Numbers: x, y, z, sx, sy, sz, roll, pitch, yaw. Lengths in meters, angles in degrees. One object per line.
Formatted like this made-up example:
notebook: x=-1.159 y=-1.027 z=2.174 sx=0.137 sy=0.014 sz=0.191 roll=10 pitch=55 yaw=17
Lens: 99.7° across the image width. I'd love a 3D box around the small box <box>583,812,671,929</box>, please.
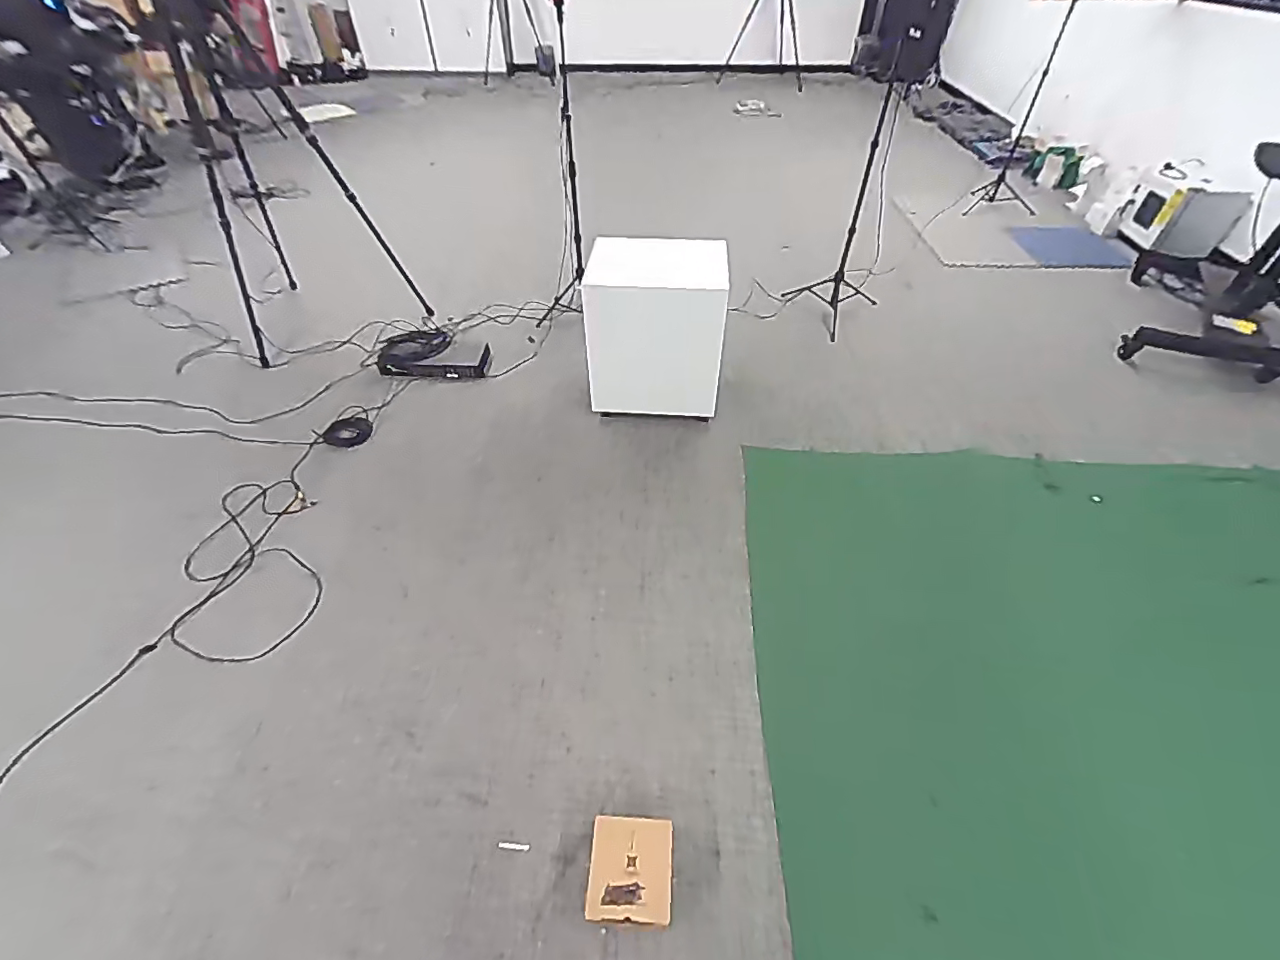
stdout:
small box: x=-0.021 y=0.827 z=1.143 sx=0.168 sy=0.176 sz=0.179 roll=3 pitch=46 yaw=3
